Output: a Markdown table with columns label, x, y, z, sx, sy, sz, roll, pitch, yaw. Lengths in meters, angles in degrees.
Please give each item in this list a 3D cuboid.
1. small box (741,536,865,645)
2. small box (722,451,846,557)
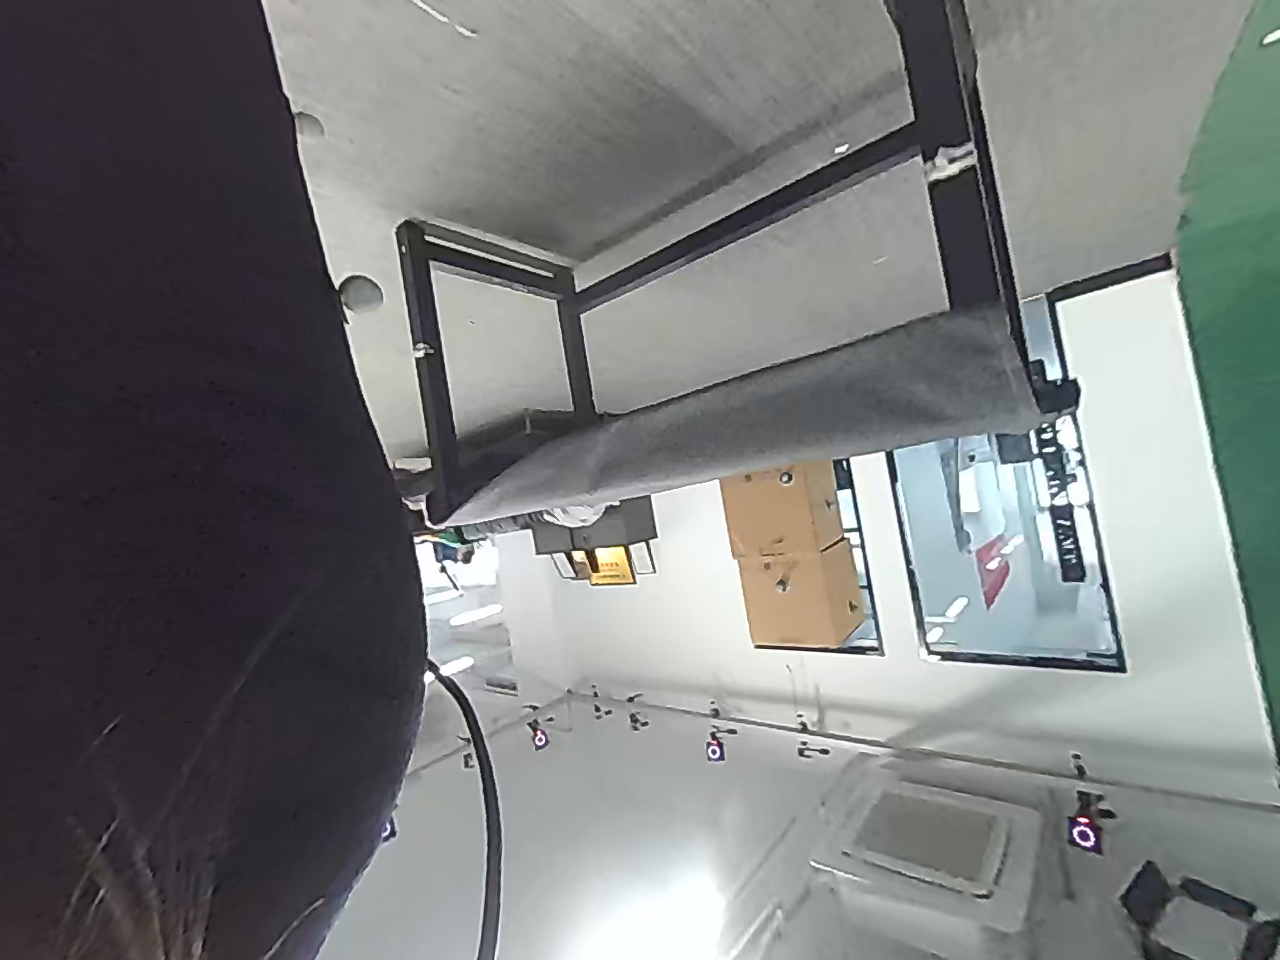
| label | x | y | z | sx | sy | sz | roll | pitch | yaw |
| --- | --- | --- | --- | --- | --- | --- | --- | --- | --- |
| small box | 0.312 | 0.203 | 1.034 | 0.168 | 0.176 | 0.179 | -12 | 177 | 38 |
| small box | 0.273 | 0.043 | 1.028 | 0.168 | 0.176 | 0.179 | -11 | 179 | 36 |
